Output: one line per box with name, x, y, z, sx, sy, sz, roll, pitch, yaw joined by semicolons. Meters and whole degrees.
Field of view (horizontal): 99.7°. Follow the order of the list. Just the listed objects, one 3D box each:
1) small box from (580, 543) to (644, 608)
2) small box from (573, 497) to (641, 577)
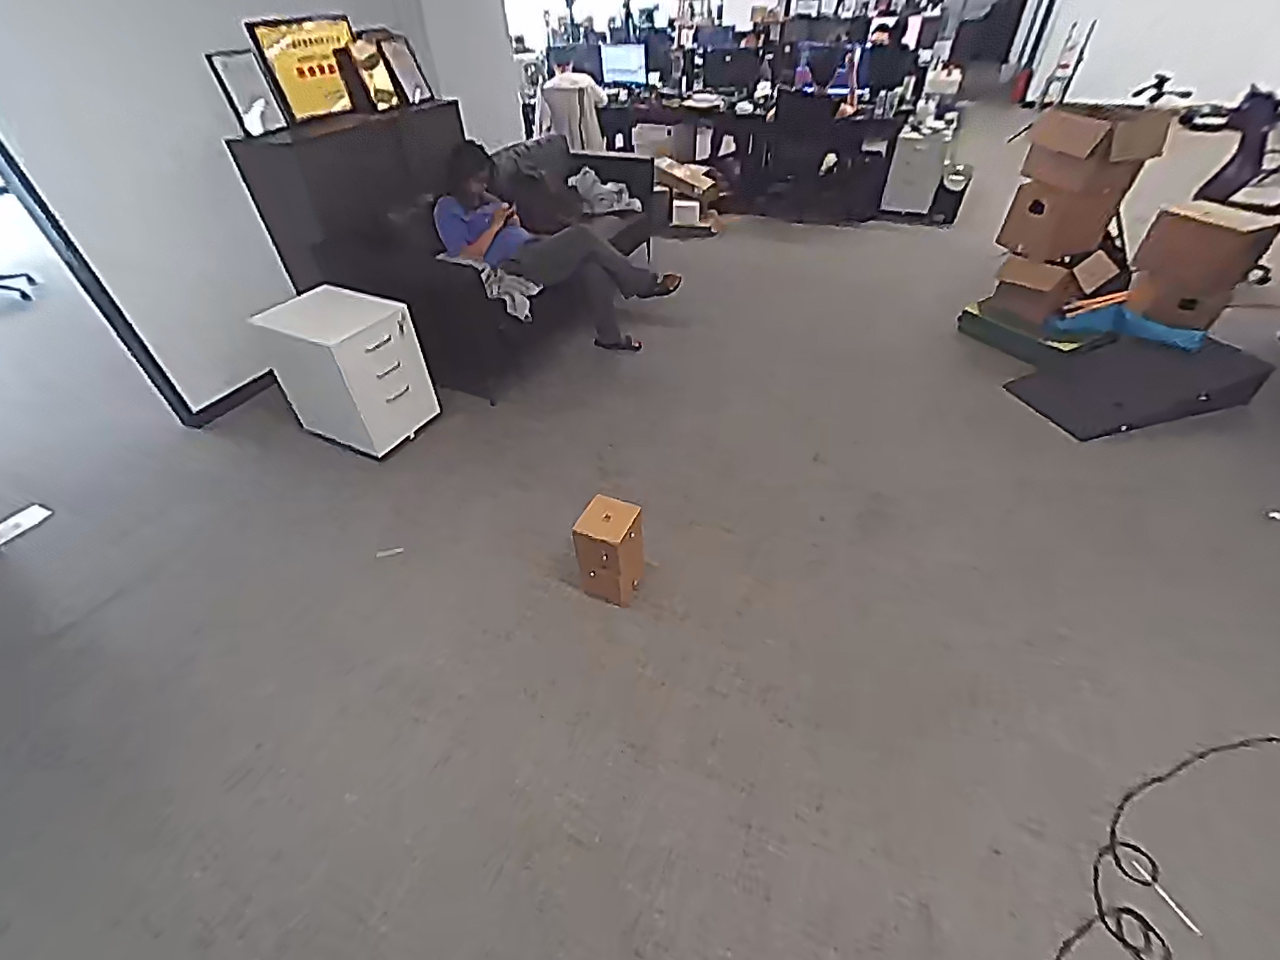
small box;-0.094;0.312;1.892;0.168;0.176;0.179;16;44;21
small box;-0.100;0.190;1.786;0.168;0.176;0.179;15;43;19
